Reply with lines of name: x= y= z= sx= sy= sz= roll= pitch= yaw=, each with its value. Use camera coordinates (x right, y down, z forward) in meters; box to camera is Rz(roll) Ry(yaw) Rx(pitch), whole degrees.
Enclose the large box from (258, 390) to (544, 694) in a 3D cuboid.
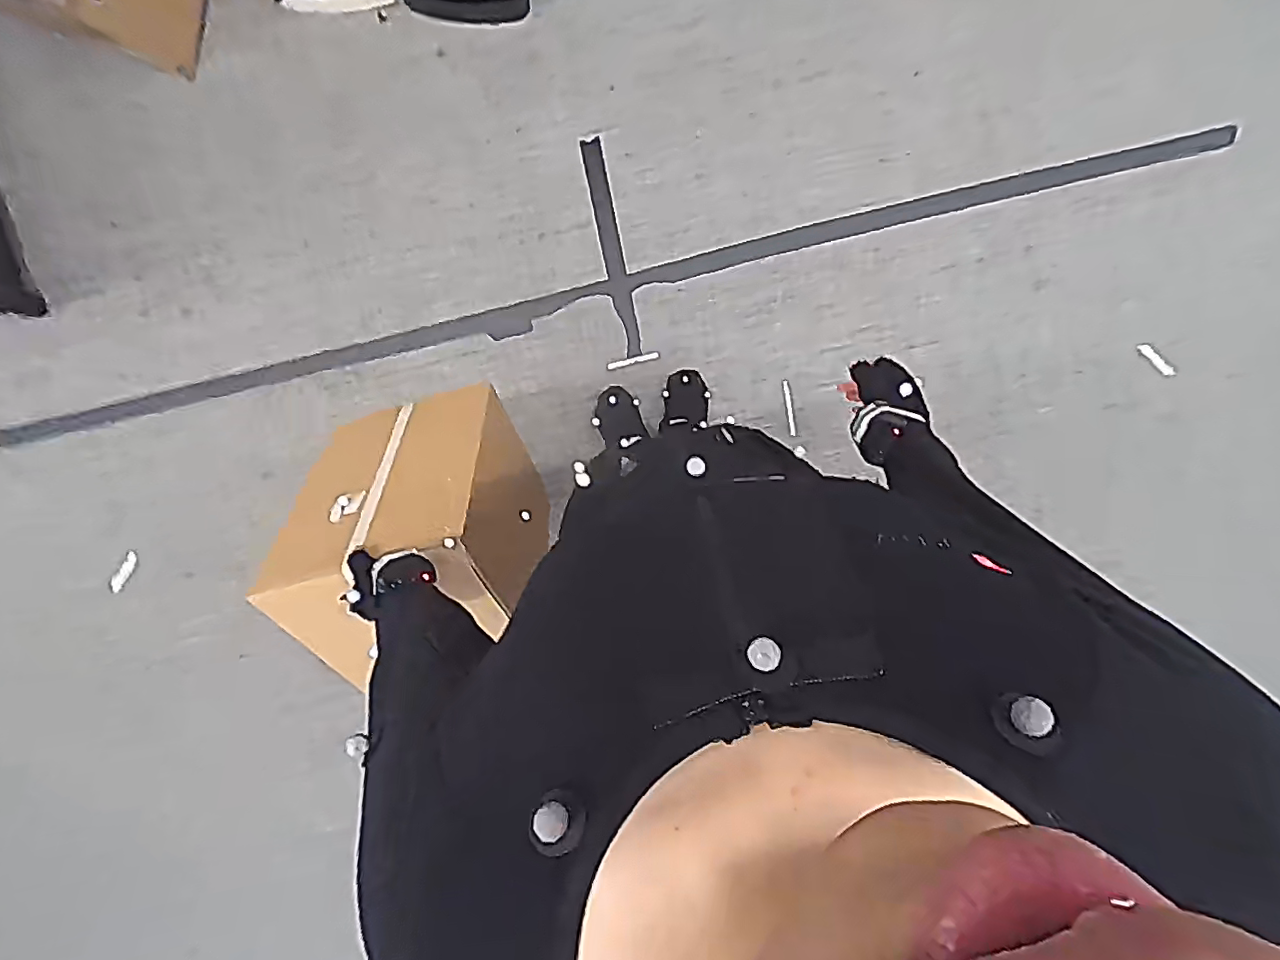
large box: x=-0.369 y=0.102 z=0.973 sx=0.320 sy=0.408 sz=0.320 roll=-15 pitch=132 yaw=5
